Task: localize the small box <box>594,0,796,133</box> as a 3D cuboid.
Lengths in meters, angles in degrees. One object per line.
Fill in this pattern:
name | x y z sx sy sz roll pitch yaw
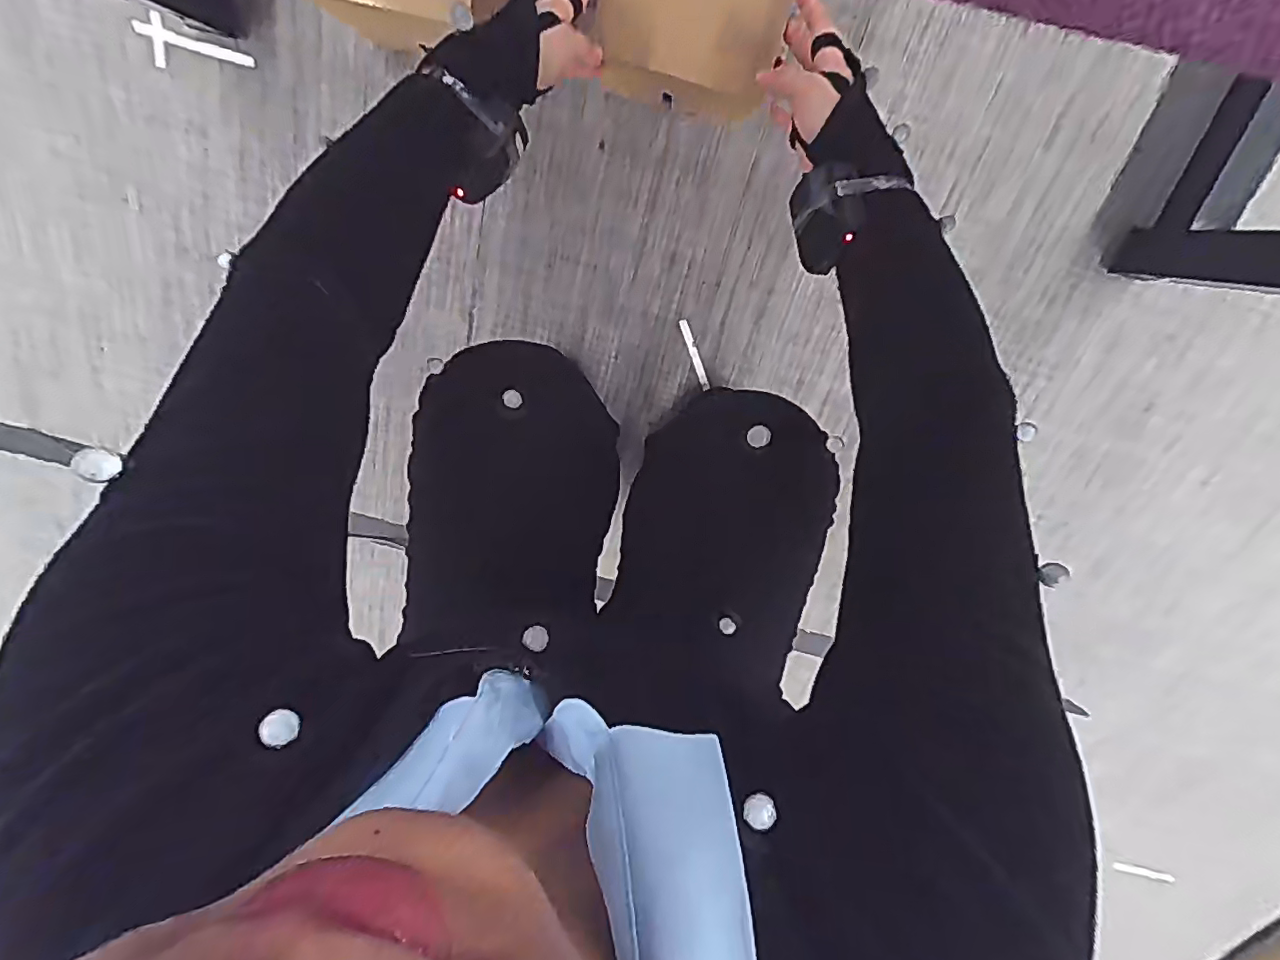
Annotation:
small box | 0.061 -0.471 0.532 0.168 0.176 0.179 15 114 -6
